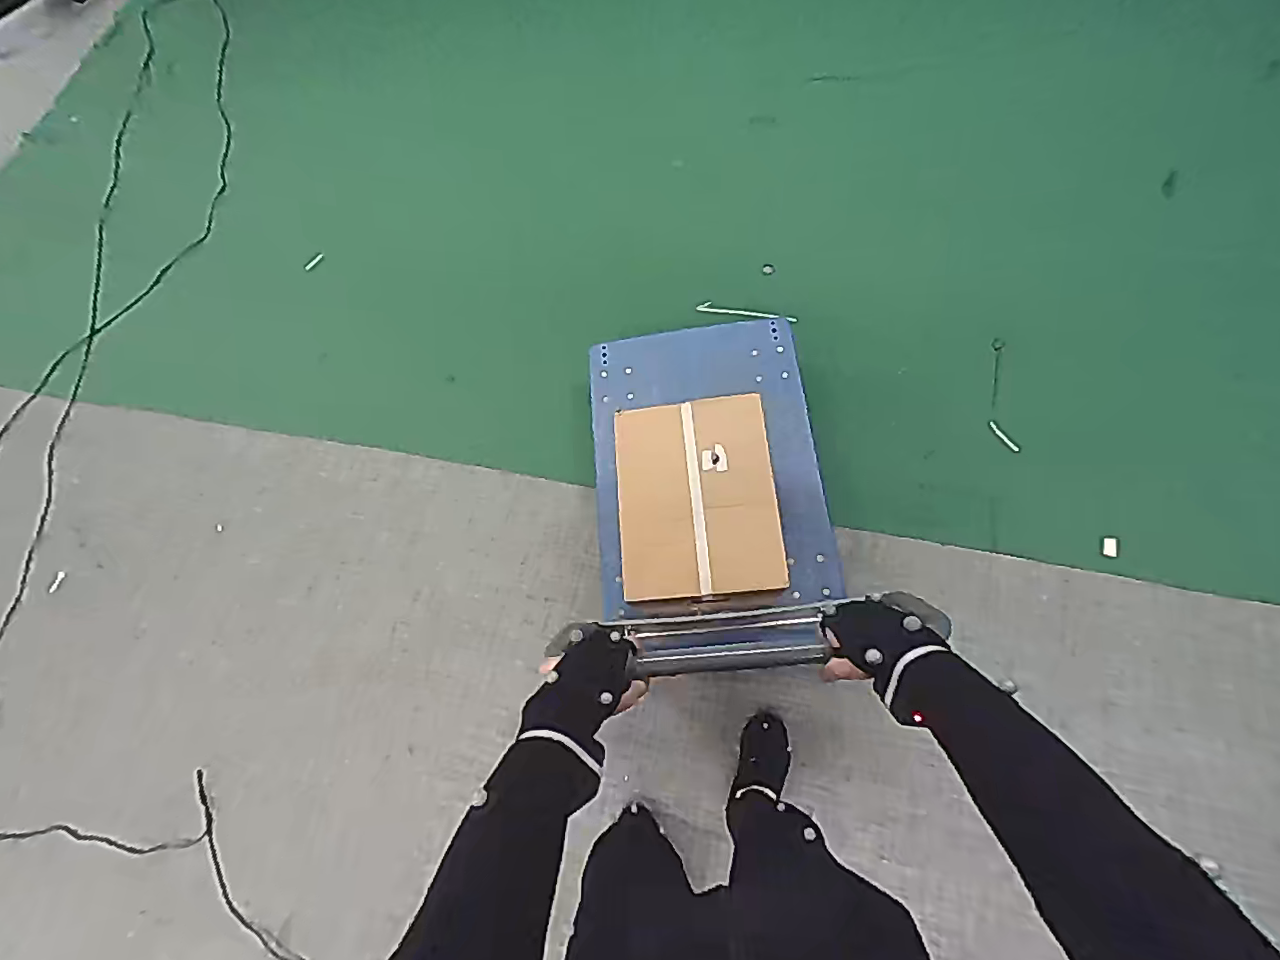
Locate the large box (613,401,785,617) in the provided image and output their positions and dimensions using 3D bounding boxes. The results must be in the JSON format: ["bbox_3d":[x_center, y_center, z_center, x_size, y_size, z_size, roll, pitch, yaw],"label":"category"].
[{"bbox_3d":[0.130,0.084,1.238,0.320,0.320,0.408,-7,70,6],"label":"large box"}]
